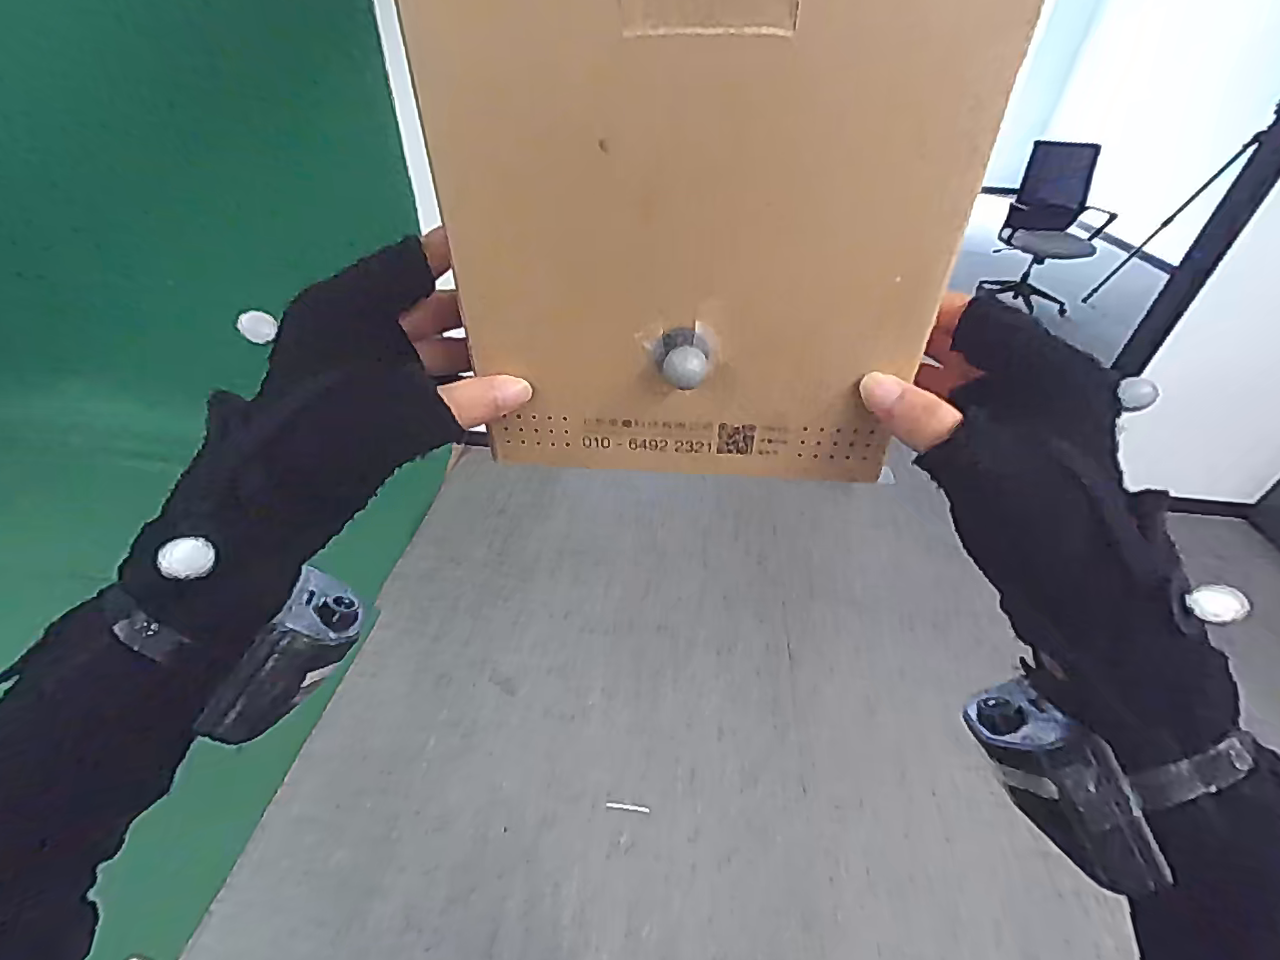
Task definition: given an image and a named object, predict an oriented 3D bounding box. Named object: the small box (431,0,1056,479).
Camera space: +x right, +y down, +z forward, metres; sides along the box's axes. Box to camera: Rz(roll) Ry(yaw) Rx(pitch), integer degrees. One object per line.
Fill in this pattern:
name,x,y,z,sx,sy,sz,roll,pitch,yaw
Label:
small box,0.029,-0.122,0.246,0.168,0.176,0.179,2,40,4
